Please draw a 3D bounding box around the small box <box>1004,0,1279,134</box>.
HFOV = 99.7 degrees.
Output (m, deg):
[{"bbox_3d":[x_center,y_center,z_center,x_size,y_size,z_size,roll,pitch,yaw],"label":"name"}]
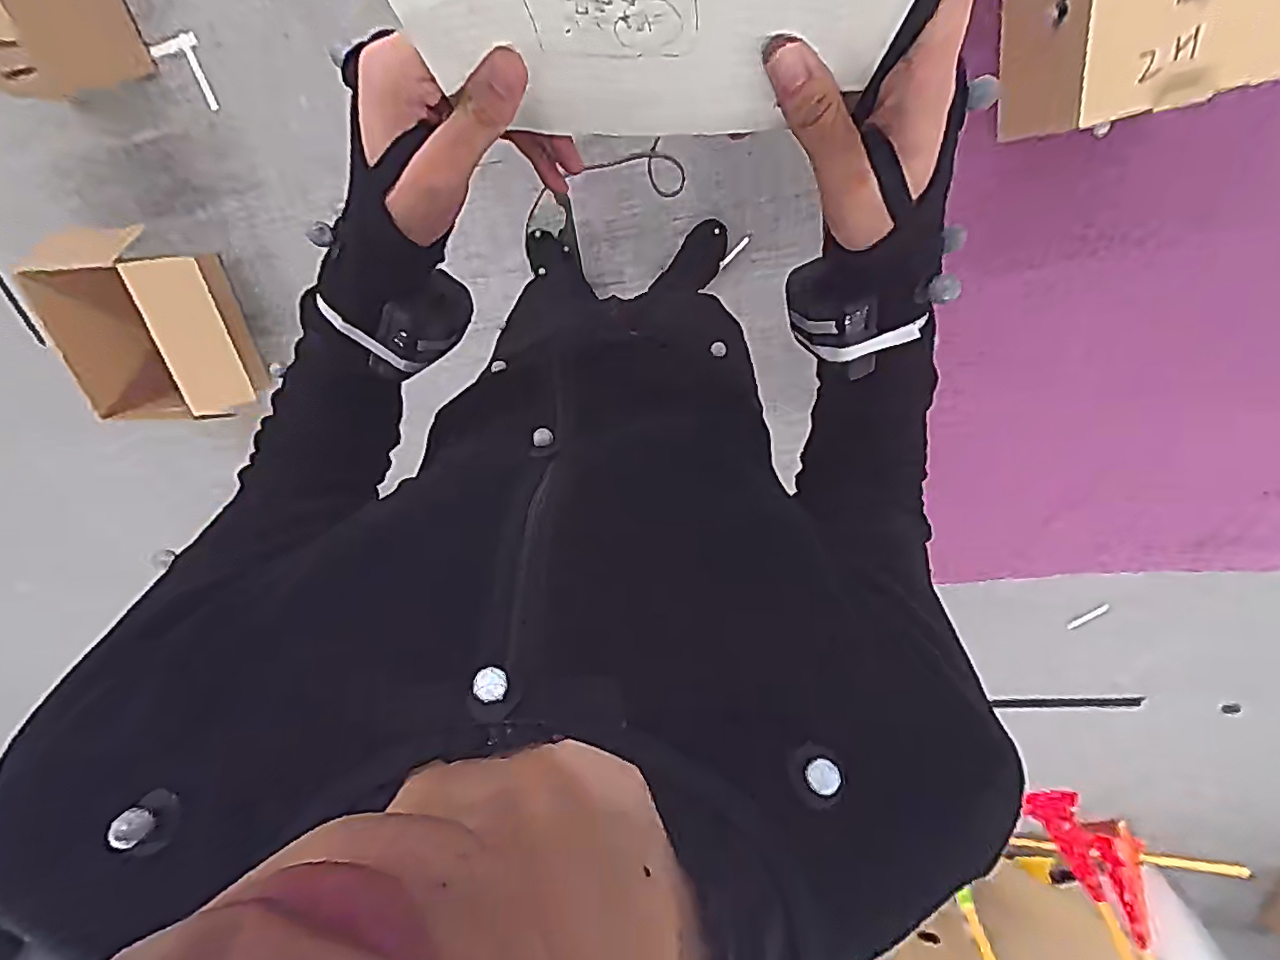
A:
[{"bbox_3d":[0.472,-0.451,0.508,0.168,0.176,0.179,-9,118,13],"label":"small box"}]
